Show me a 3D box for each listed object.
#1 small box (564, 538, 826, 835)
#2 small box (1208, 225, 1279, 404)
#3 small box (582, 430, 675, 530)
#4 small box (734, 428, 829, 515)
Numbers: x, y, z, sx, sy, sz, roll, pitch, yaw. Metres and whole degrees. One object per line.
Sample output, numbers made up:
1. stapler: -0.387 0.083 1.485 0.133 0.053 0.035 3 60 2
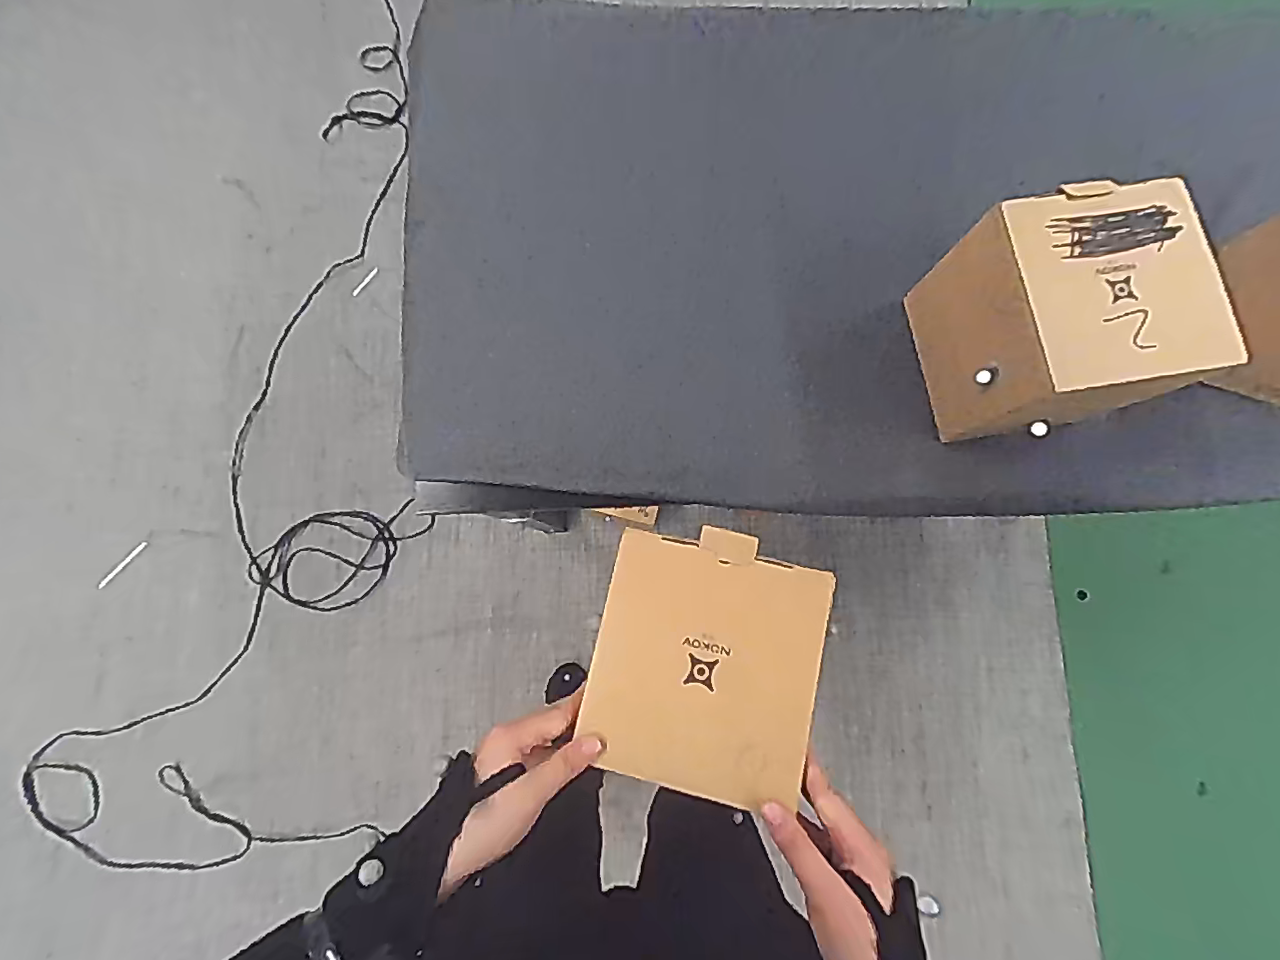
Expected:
1. small box: 0.050 0.164 0.475 0.168 0.176 0.179 12 77 8
2. small box: 0.723 -0.171 0.527 0.168 0.176 0.179 19 79 2
3. small box: -0.027 0.007 1.237 0.168 0.176 0.179 15 81 2
4. small box: 0.317 -0.012 1.241 0.168 0.176 0.179 -4 81 -1
